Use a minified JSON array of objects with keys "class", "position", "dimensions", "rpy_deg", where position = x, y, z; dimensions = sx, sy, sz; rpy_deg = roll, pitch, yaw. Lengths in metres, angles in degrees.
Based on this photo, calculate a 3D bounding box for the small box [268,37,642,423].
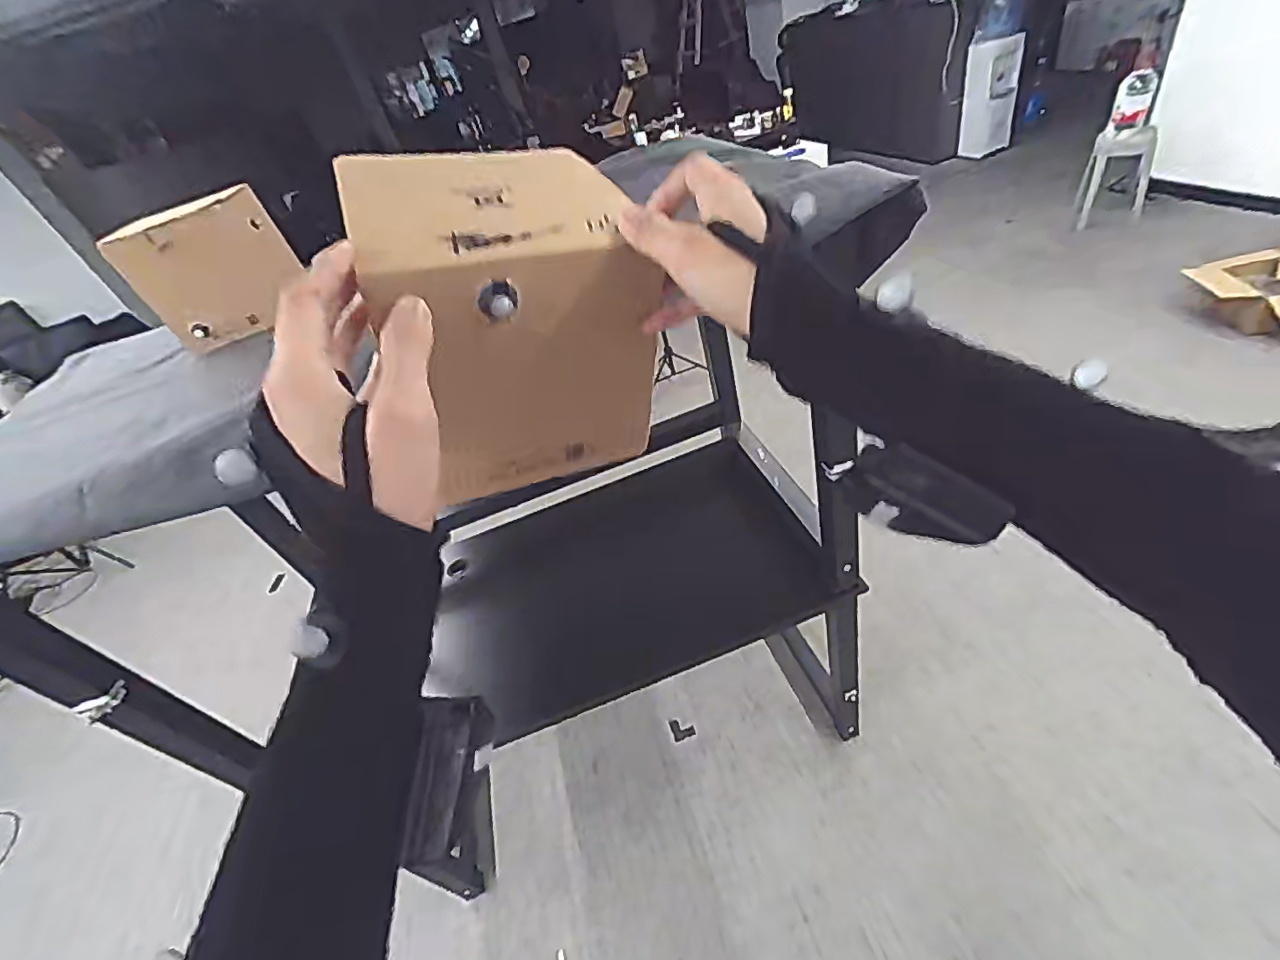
[{"class":"small box","position":[-0.113,-0.163,0.350],"dimensions":[0.168,0.176,0.179],"rpy_deg":[-15,49,-19]}]

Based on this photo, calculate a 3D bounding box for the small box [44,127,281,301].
[{"class":"small box","position":[-0.655,-0.377,0.774],"dimensions":[0.168,0.176,0.179],"rpy_deg":[-24,41,-6]}]
